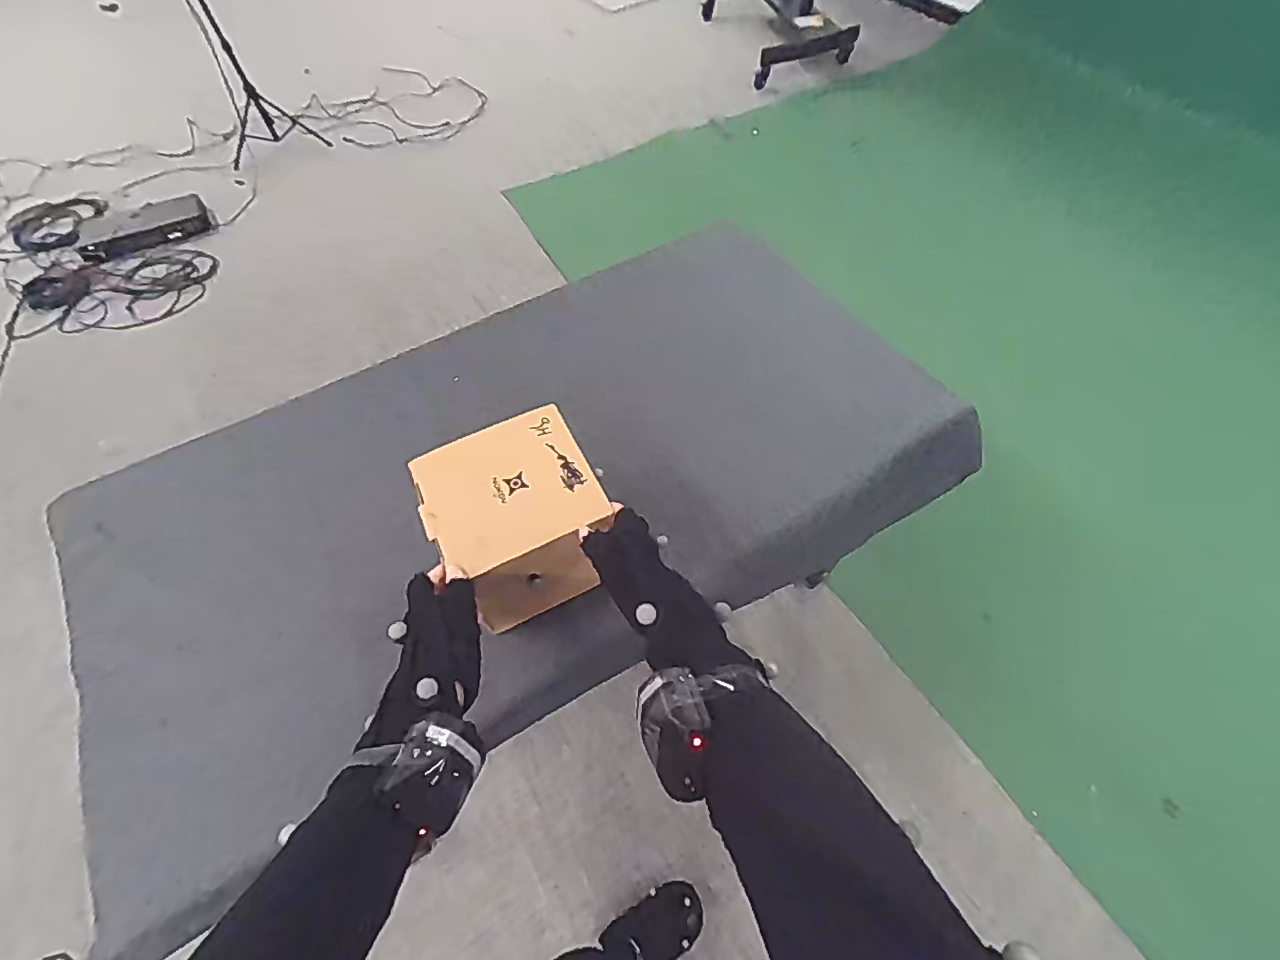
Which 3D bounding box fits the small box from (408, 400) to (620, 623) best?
[{"bbox_3d":[-0.138,0.044,0.638,0.179,0.176,0.168,-26,62,-11],"label":"small box"}]
